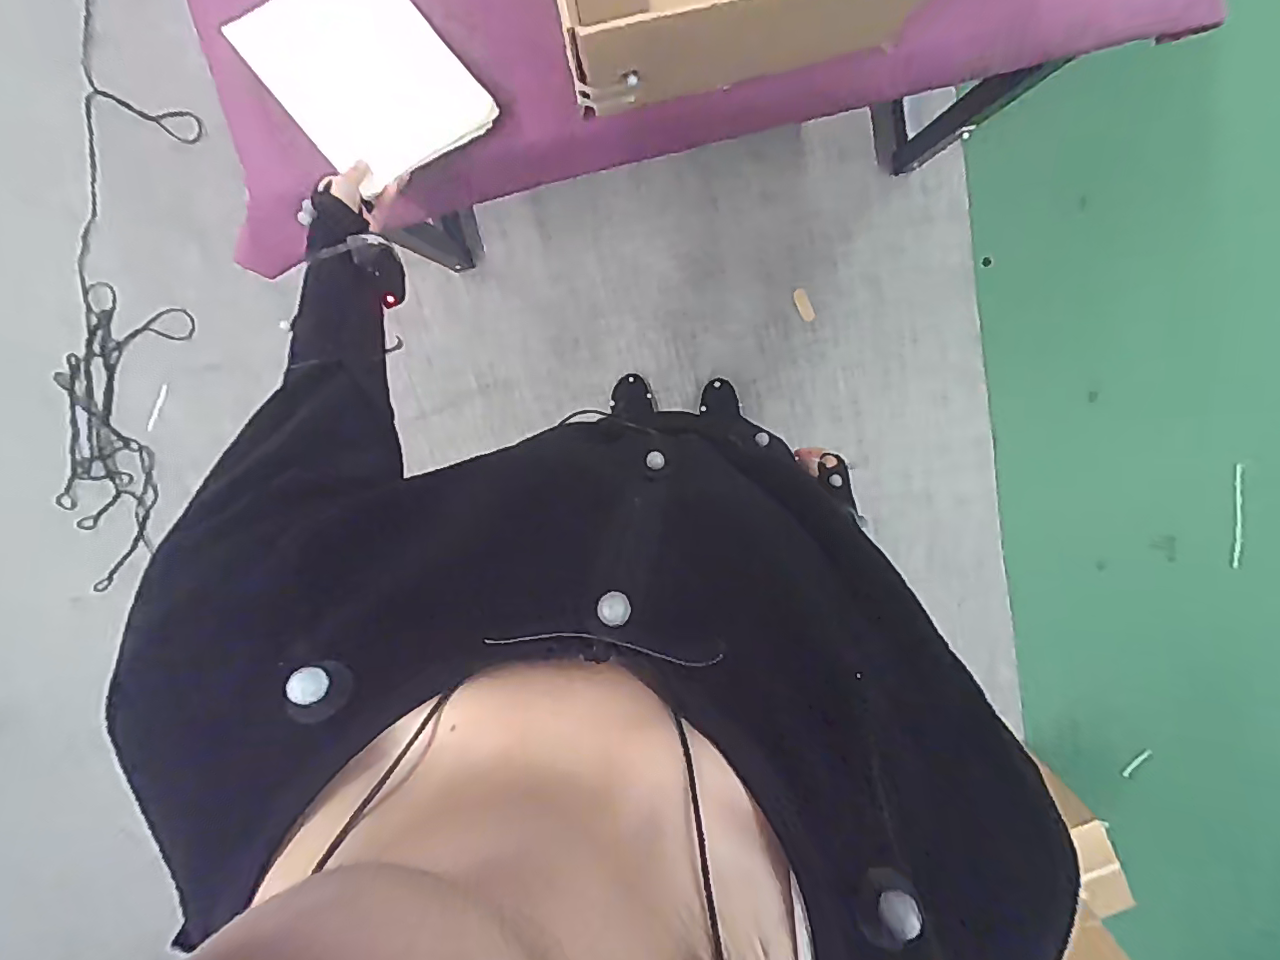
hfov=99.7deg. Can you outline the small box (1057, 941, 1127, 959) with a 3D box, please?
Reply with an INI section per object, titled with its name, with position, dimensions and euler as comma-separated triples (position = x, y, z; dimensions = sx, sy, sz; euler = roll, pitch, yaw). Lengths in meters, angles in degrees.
[small box]
position = 1.033, 1.171, 1.177
dimensions = 0.179, 0.176, 0.168
euler = -28, 100, 5
